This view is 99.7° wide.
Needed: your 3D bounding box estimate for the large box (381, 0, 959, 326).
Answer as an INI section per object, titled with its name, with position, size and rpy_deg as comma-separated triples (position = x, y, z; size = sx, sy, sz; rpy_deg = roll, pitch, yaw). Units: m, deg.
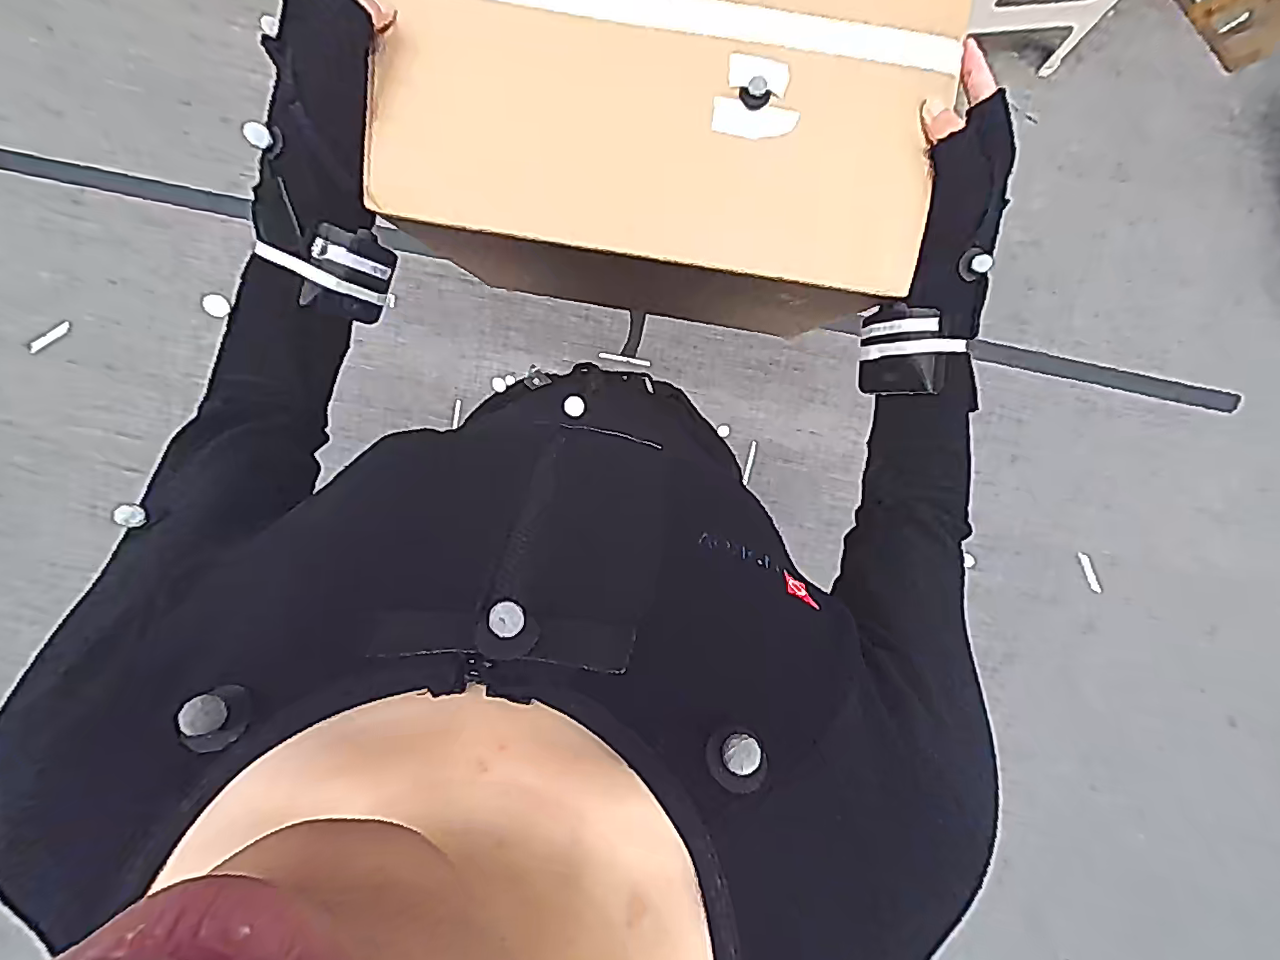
[large box]
position = 0.022, -0.351, 0.529
size = 0.408, 0.320, 0.320
rpy_deg = 9, 99, -1
